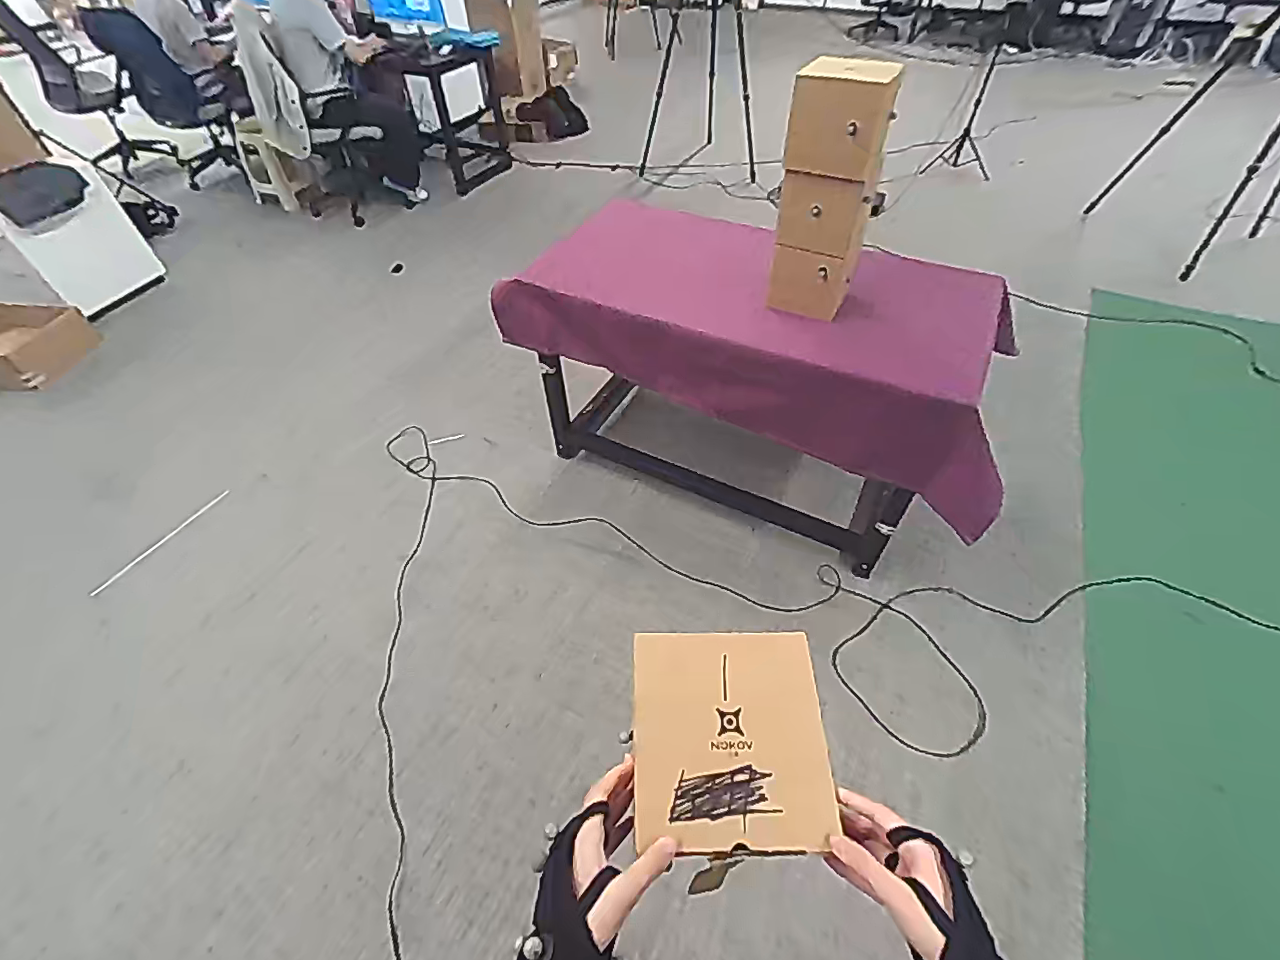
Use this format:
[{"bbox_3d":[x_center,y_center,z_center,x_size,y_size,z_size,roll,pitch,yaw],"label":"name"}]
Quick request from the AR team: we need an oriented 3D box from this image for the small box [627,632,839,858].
[{"bbox_3d":[0.073,0.264,0.532,0.168,0.176,0.179,2,54,-2],"label":"small box"}]

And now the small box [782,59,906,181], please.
[{"bbox_3d":[0.412,-0.735,1.109,0.179,0.176,0.168,22,52,20],"label":"small box"}]

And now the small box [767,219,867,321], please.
[{"bbox_3d":[0.438,-0.522,1.358,0.179,0.176,0.168,23,53,20],"label":"small box"}]
